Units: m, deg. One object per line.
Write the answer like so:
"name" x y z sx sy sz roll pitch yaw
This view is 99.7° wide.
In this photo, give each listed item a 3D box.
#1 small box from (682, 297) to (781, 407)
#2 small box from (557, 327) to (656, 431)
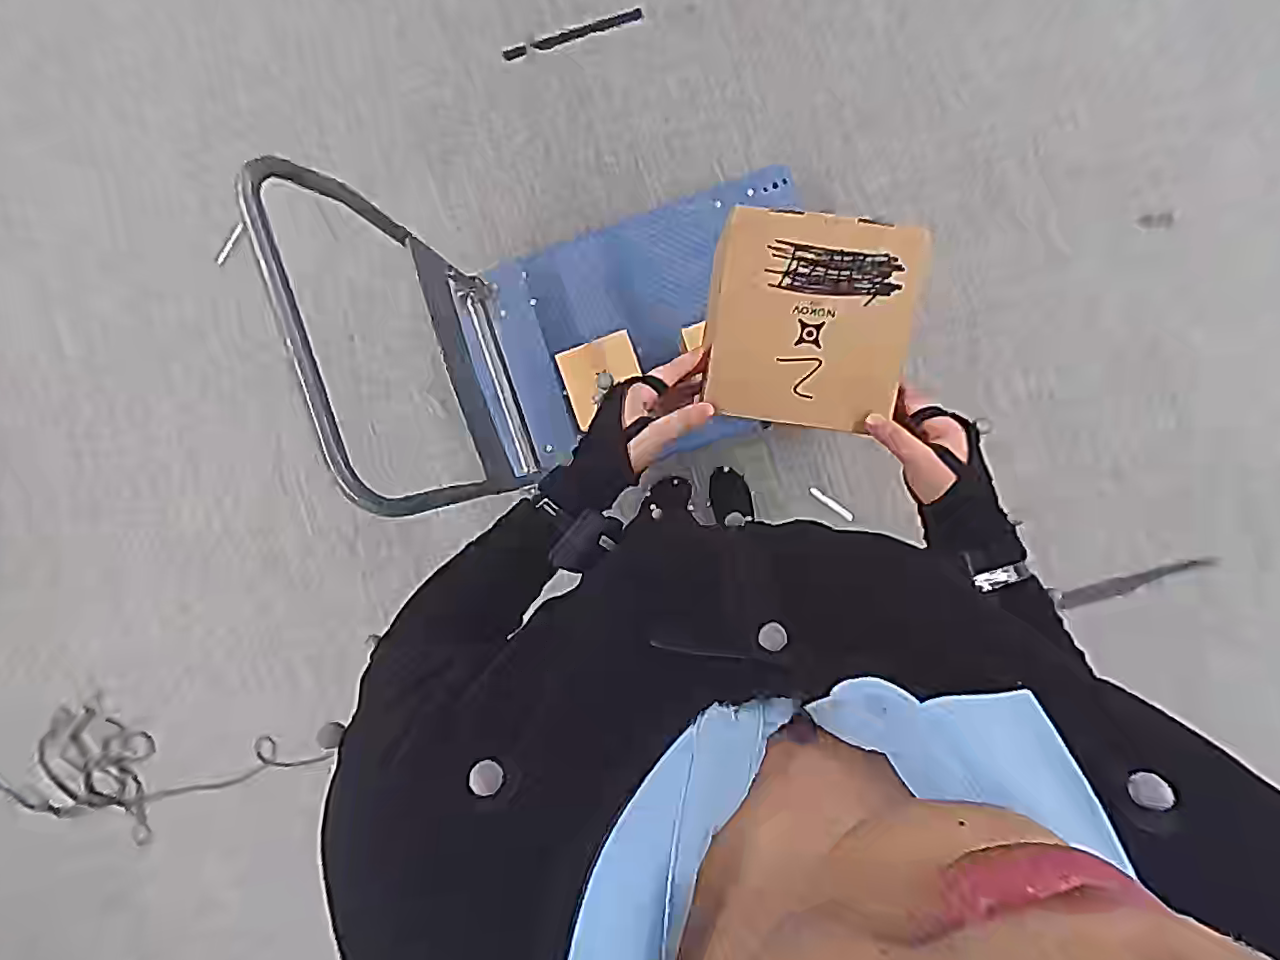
"small box" 0.197 -0.278 1.214 0.168 0.176 0.179 -21 91 4
"small box" -0.070 -0.221 1.233 0.168 0.176 0.179 -21 91 5
